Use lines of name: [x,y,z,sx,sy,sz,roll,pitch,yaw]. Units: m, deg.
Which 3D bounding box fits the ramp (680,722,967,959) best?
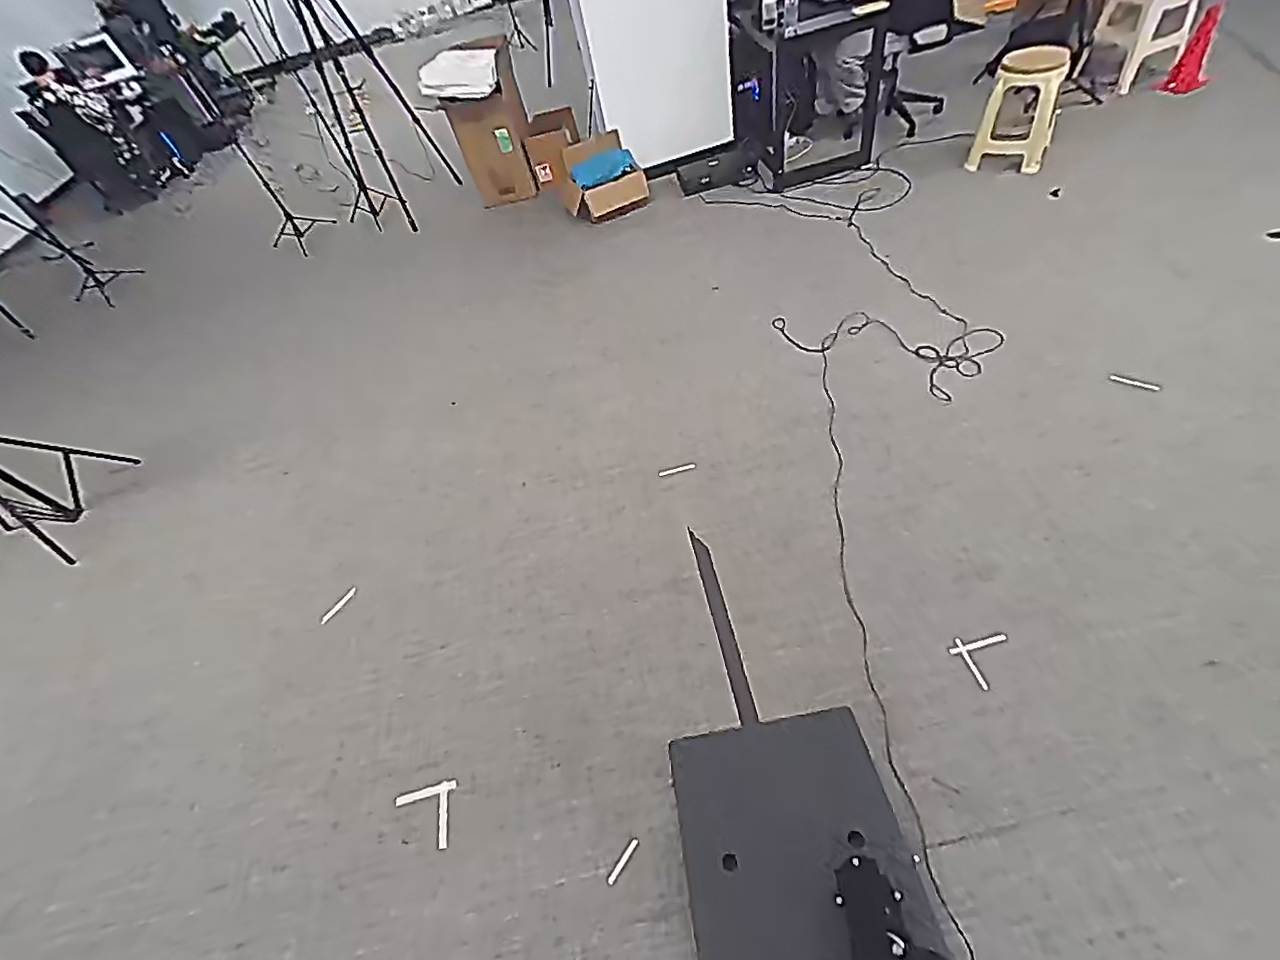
ramp: [0.392,0.993,1.032,0.509,0.206,0.991,-17,47,3]
